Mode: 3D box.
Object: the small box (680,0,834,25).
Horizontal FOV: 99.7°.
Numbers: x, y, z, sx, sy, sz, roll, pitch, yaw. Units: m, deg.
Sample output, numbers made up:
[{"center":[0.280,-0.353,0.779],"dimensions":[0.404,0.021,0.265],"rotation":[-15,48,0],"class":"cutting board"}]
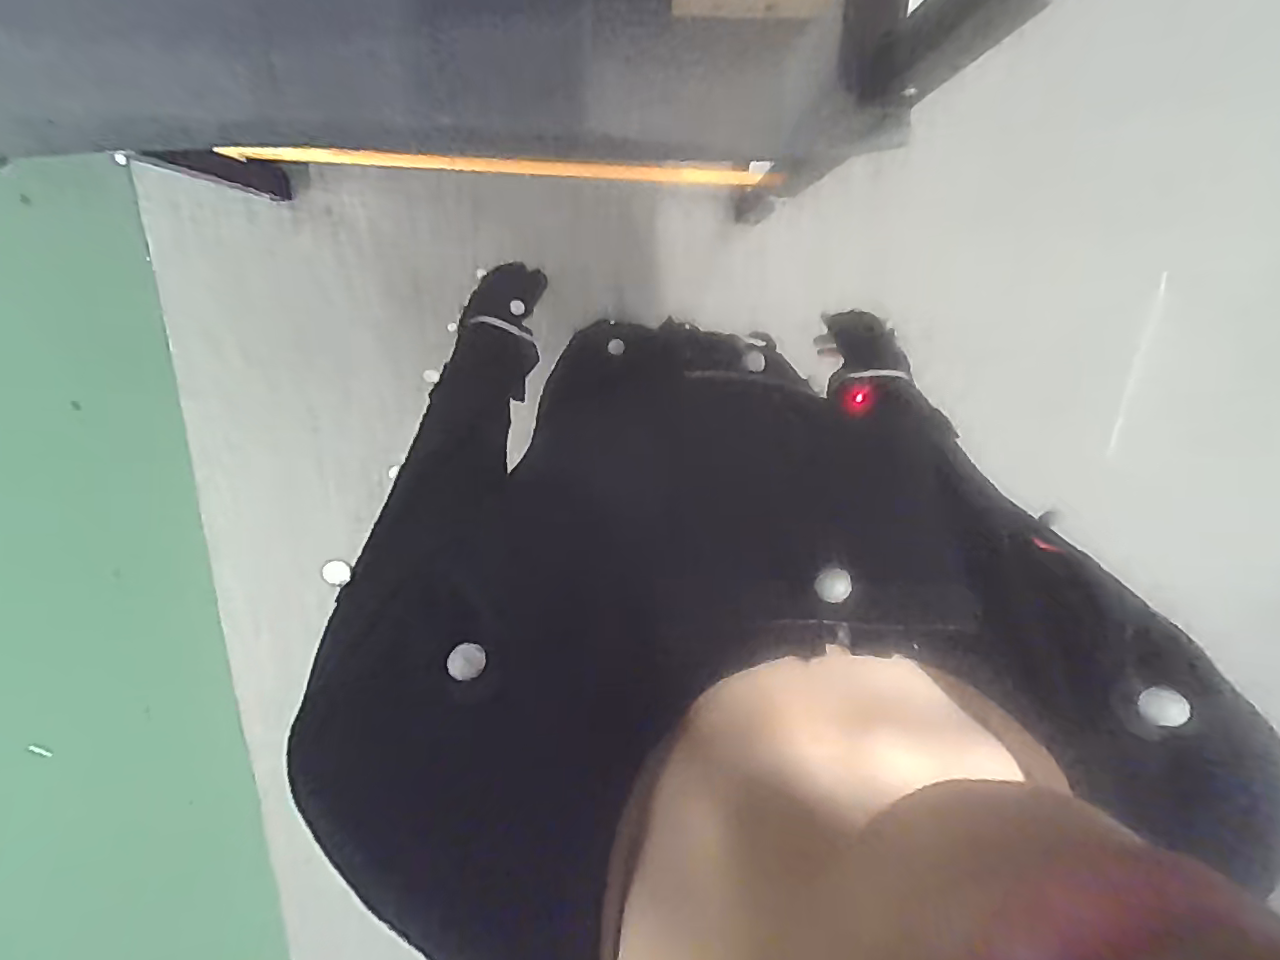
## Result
[{"center":[0.120,-0.552,0.487],"dimensions":[0.168,0.176,0.179],"rotation":[1,106,0],"class":"small box"}]
